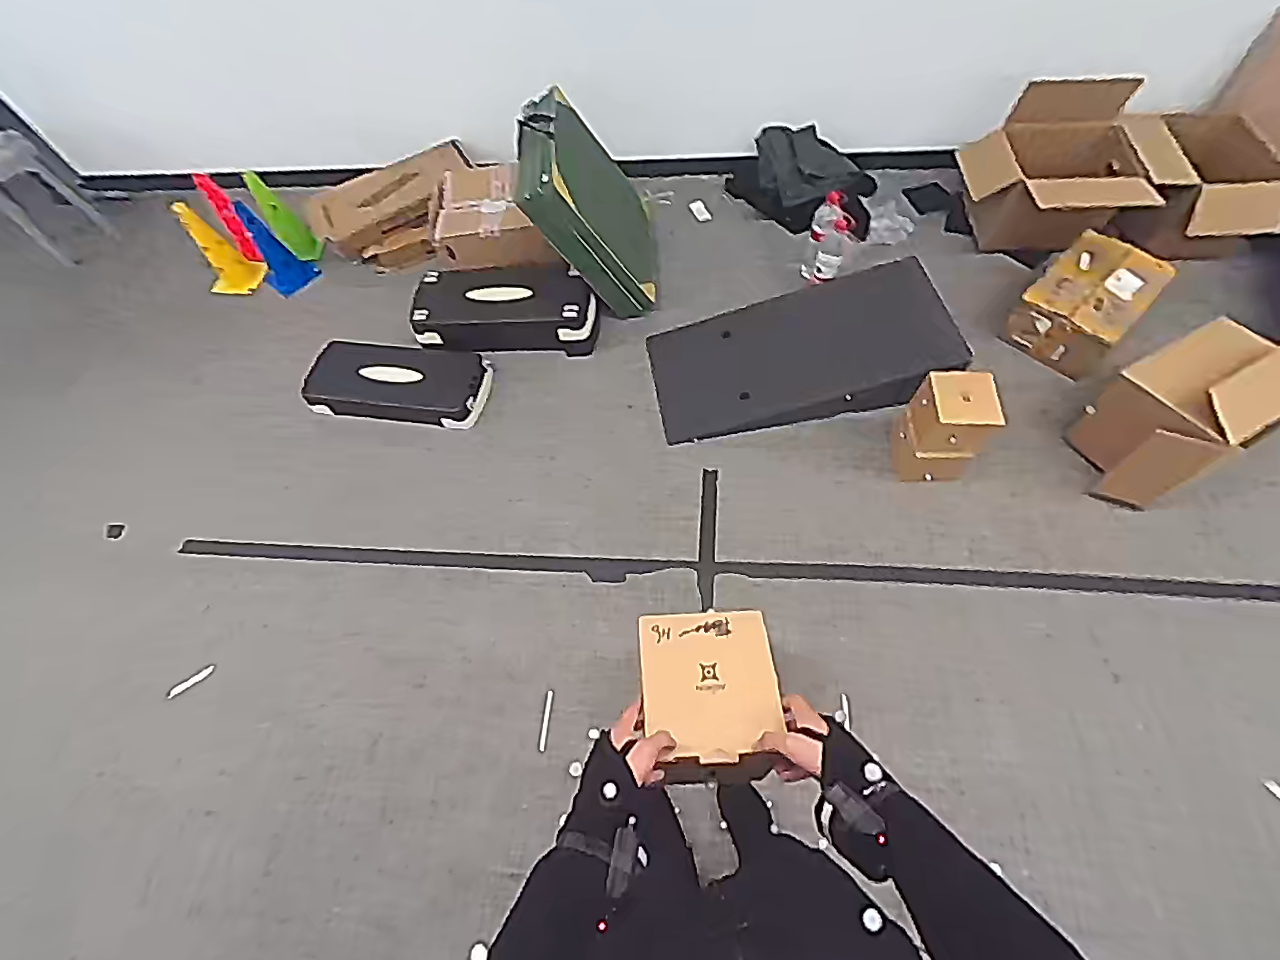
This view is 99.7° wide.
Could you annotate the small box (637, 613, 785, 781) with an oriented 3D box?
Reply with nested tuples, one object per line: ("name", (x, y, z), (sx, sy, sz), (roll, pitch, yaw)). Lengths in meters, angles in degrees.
("small box", (0.082, 0.297, 0.727), (0.168, 0.176, 0.179), (-2, 52, -3))
